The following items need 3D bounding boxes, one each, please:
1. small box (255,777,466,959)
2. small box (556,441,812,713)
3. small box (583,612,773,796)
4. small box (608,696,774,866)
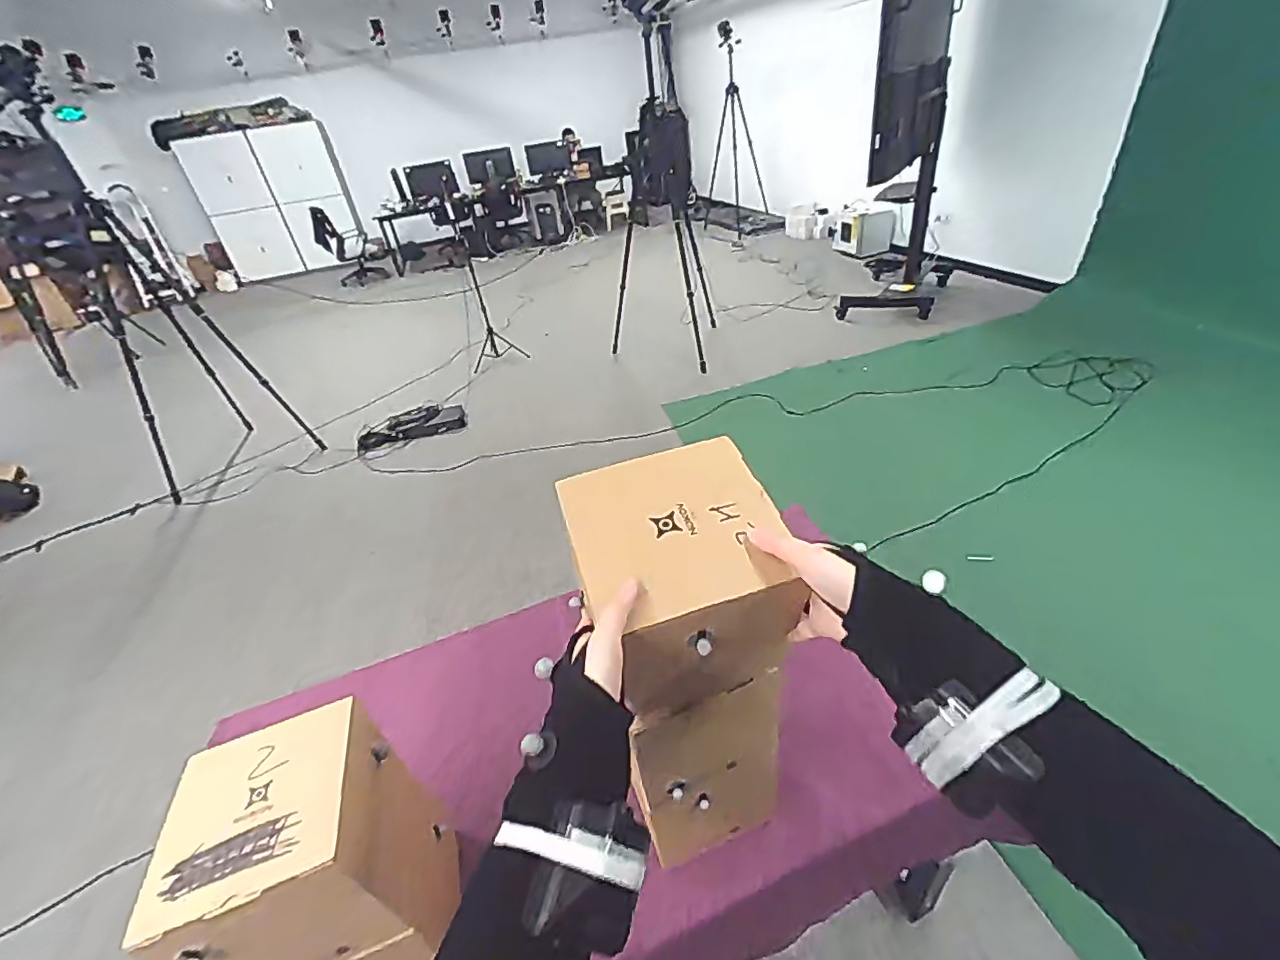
[{"bbox_3d":[-0.320,0.508,0.651,0.168,0.176,0.179,-18,37,-11],"label":"small box"},{"bbox_3d":[0.033,0.095,0.509,0.179,0.176,0.168,-15,51,-10],"label":"small box"},{"bbox_3d":[0.047,0.242,0.649,0.168,0.176,0.179,-19,36,-13],"label":"small box"},{"bbox_3d":[0.068,0.376,0.742,0.168,0.176,0.179,-20,36,-11],"label":"small box"}]
